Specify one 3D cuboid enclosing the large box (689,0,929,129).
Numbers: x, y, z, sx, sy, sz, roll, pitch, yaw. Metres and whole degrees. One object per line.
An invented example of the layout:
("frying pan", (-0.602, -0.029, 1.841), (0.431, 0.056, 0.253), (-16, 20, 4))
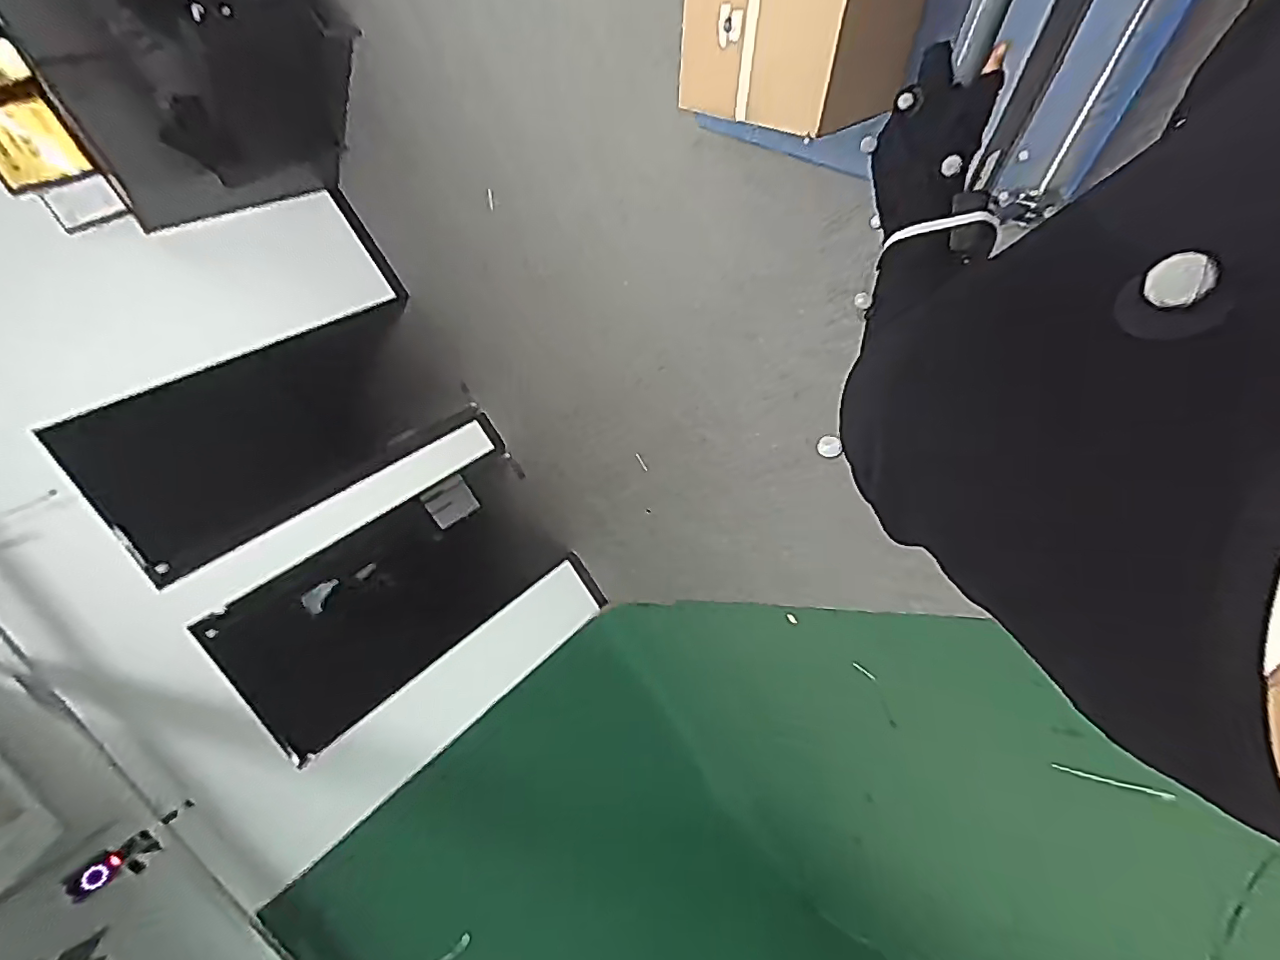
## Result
("large box", (0.308, -0.888, 0.924), (0.320, 0.320, 0.408), (34, 145, 27))
